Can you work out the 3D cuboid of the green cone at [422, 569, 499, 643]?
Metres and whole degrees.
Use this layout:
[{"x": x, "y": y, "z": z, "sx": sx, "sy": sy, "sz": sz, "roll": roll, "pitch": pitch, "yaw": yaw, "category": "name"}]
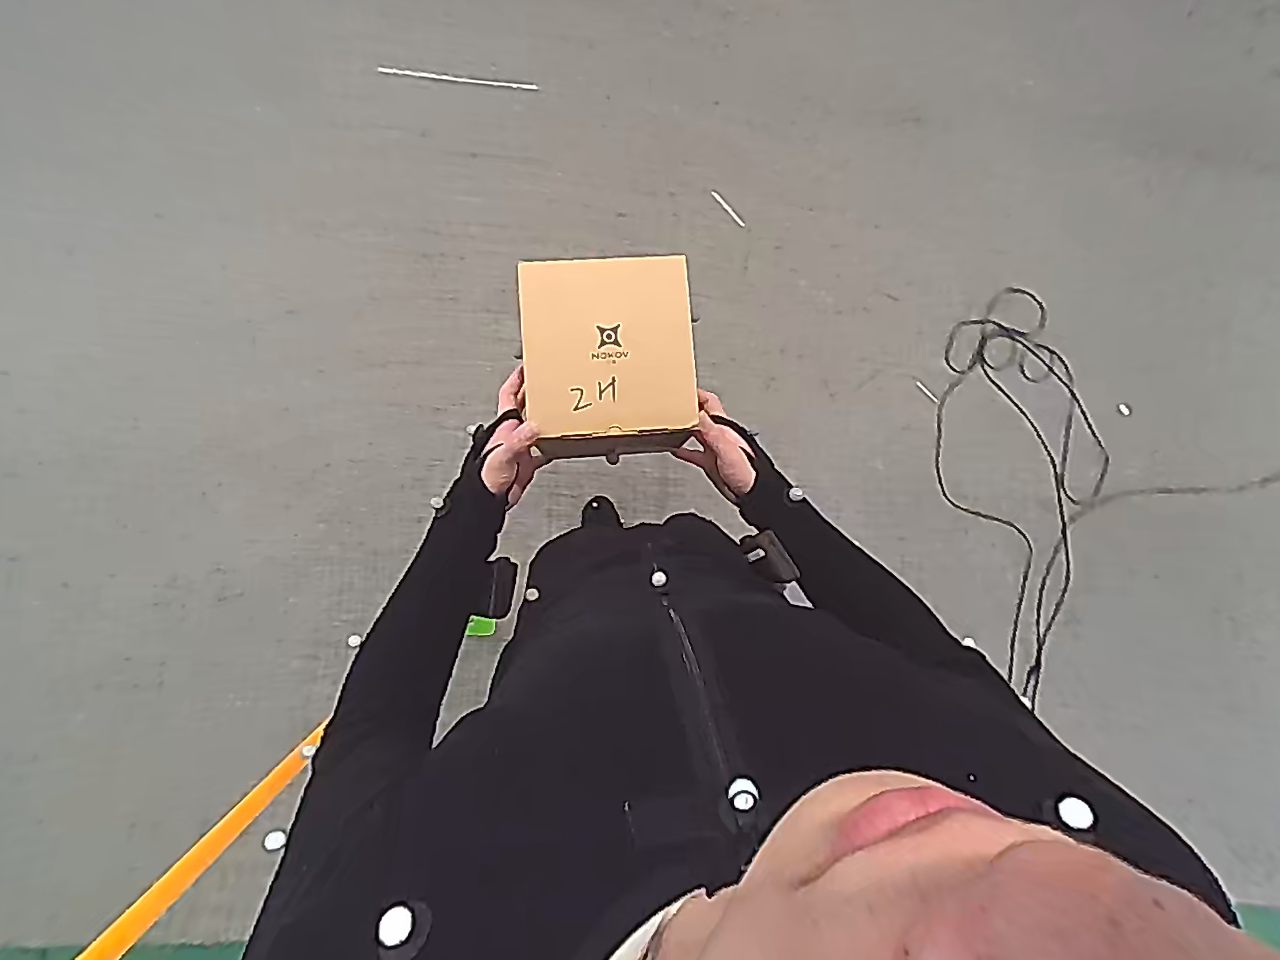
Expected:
[{"x": -0.488, "y": 0.352, "z": 1.369, "sx": 0.202, "sy": 0.368, "sz": 0.200, "roll": 5, "pitch": 87, "yaw": -7, "category": "green cone"}]
